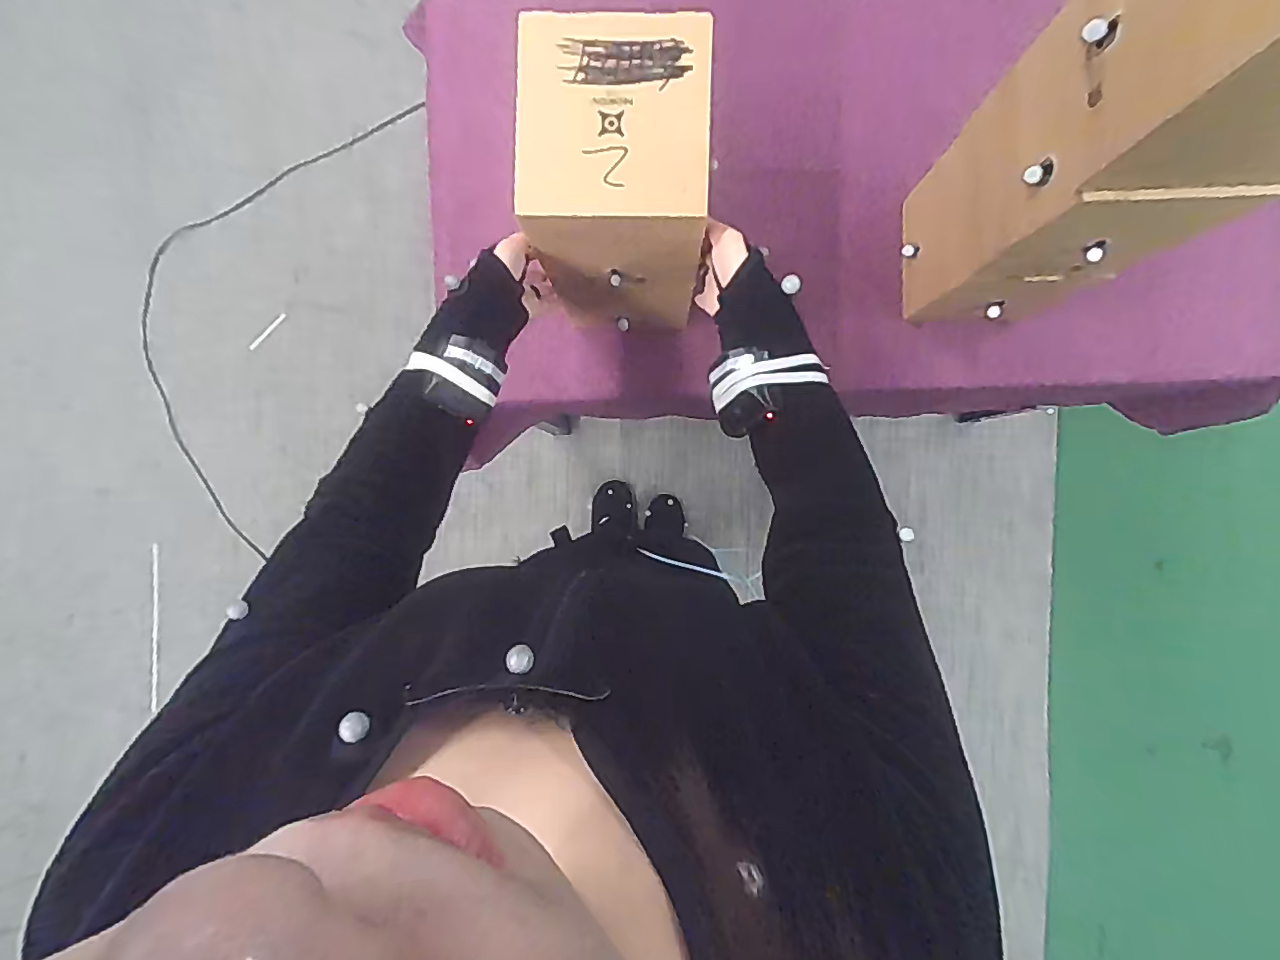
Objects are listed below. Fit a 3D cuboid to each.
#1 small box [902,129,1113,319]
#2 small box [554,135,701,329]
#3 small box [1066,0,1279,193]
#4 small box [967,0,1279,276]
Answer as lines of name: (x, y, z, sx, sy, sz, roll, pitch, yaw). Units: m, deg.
small box: (0.453, -0.310, 0.688, 0.168, 0.176, 0.179, 0, 91, 1)
small box: (-0.014, -0.308, 0.701, 0.168, 0.176, 0.179, 2, 91, 2)
small box: (0.435, -0.314, 0.360, 0.179, 0.176, 0.168, 0, 89, 3)
small box: (0.444, -0.309, 0.523, 0.168, 0.176, 0.179, 0, 90, 1)
